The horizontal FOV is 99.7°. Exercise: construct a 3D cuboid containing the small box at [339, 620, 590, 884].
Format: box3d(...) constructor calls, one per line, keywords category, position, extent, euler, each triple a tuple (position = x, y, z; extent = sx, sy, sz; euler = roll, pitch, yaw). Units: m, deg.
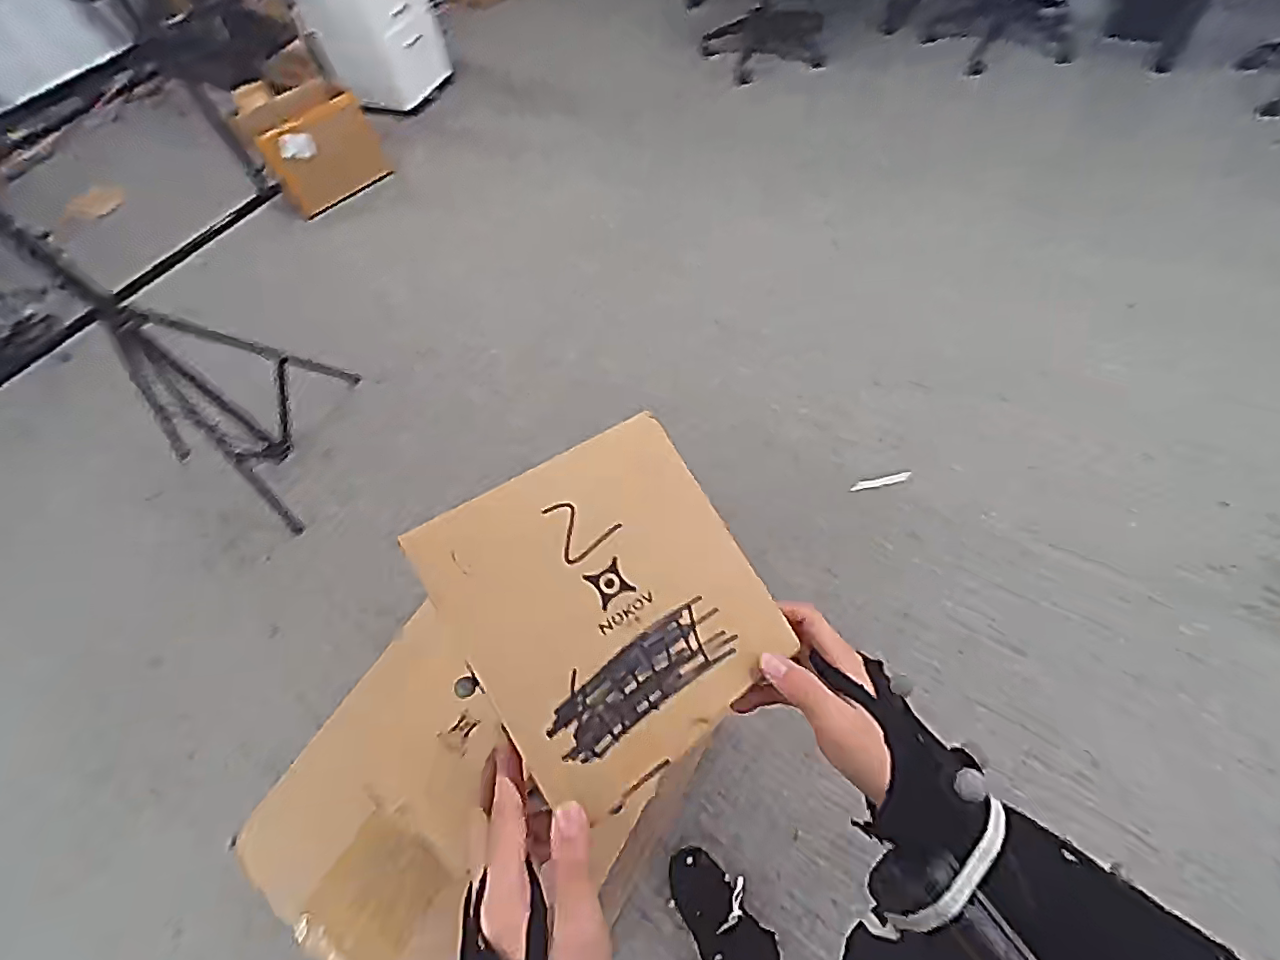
box3d(category="small box", position=(-0.170, 0.288, 0.591), extent=(0.168, 0.176, 0.179), euler=(26, 66, 20))
